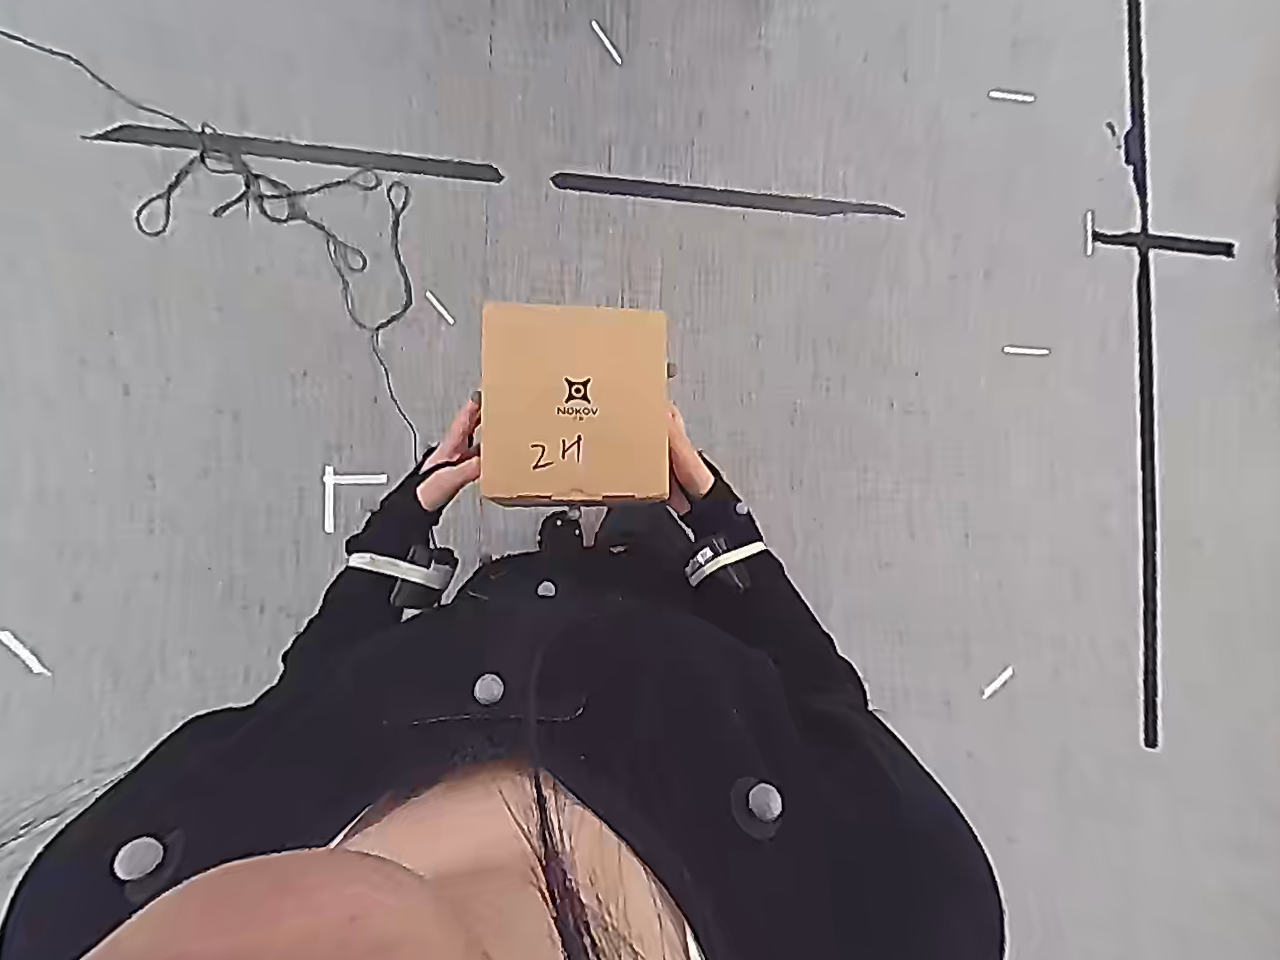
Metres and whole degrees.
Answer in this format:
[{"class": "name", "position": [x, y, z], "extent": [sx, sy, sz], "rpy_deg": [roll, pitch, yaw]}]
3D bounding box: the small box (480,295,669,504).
[{"class": "small box", "position": [-0.066, -0.069, 0.555], "extent": [0.168, 0.176, 0.179], "rpy_deg": [0, 85, -7]}]

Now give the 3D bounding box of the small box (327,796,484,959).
[{"class": "small box", "position": [-0.322, 0.578, 0.772], "extent": [0.168, 0.176, 0.179], "rpy_deg": [4, 87, -7]}]
